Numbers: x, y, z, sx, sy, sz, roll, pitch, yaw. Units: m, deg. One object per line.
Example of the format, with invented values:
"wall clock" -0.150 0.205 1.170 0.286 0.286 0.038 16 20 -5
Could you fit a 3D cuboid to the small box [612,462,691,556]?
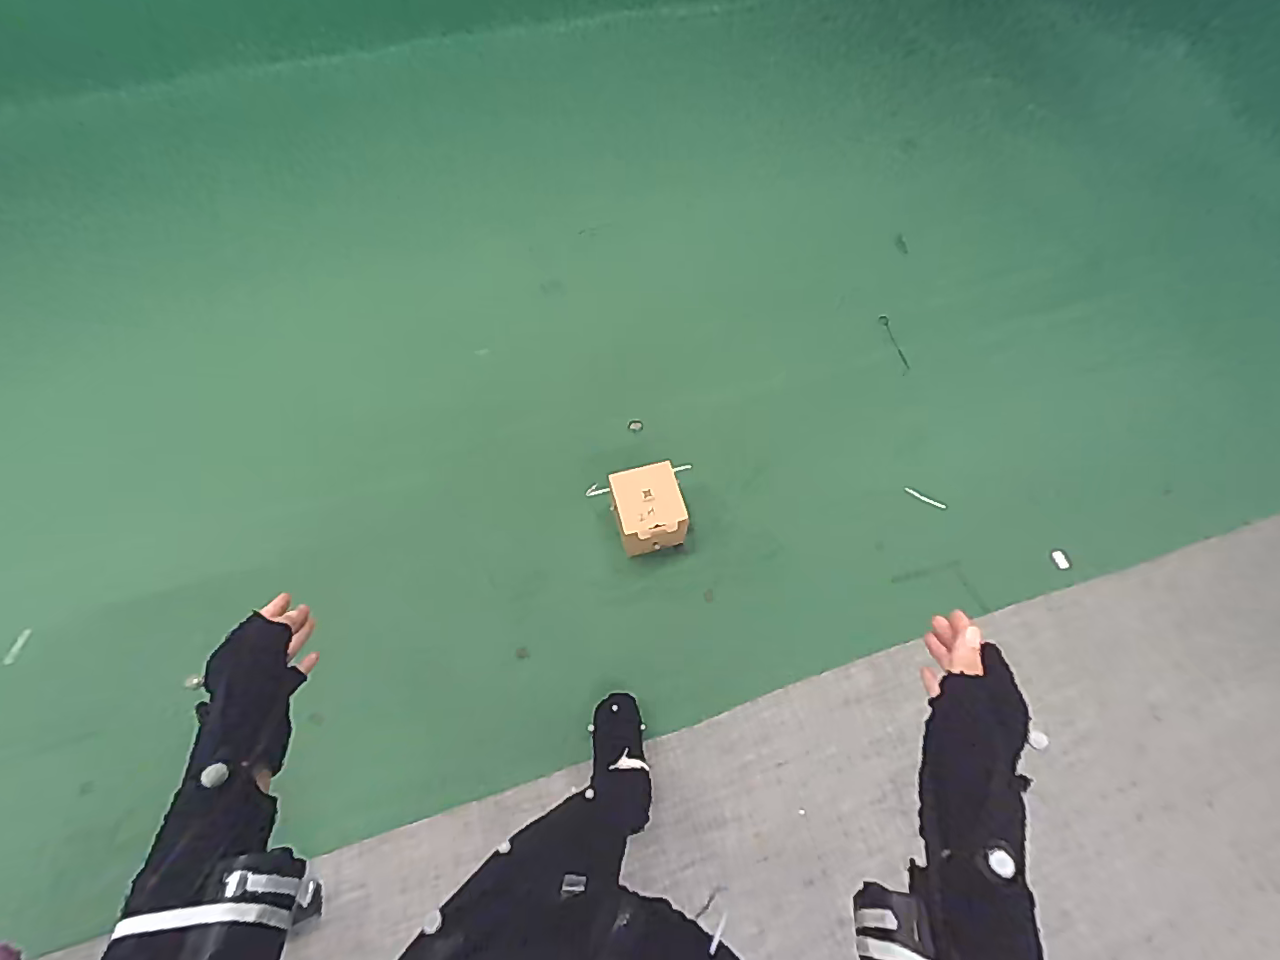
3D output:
"small box" 0.025 0.080 1.431 0.168 0.176 0.179 -14 65 -7
